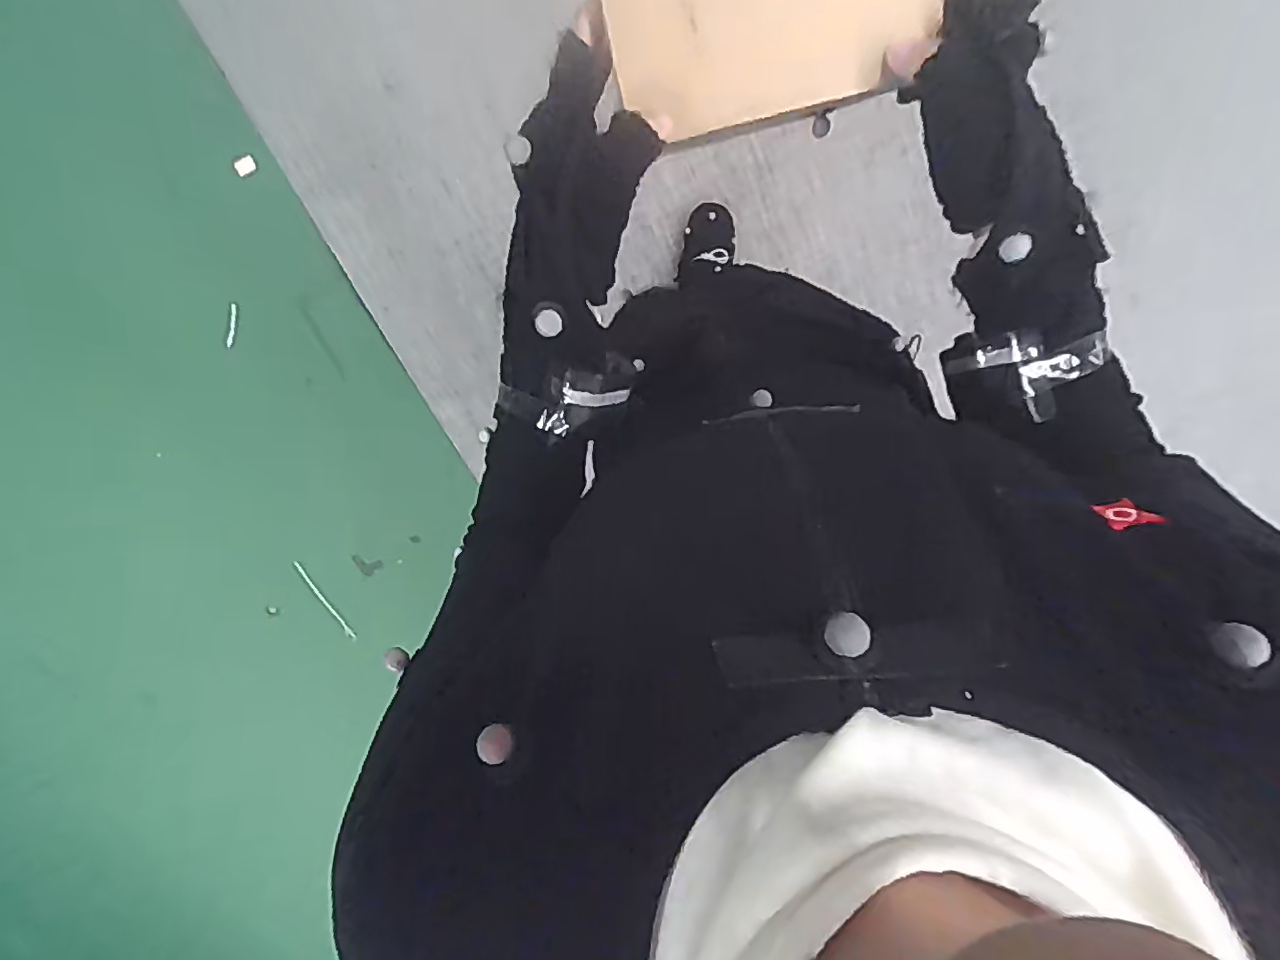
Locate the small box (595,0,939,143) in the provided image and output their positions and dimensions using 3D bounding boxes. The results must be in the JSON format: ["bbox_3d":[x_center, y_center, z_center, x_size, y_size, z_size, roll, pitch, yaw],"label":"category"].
[{"bbox_3d":[0.057,-0.324,0.330,0.179,0.176,0.168,-12,118,8],"label":"small box"}]
